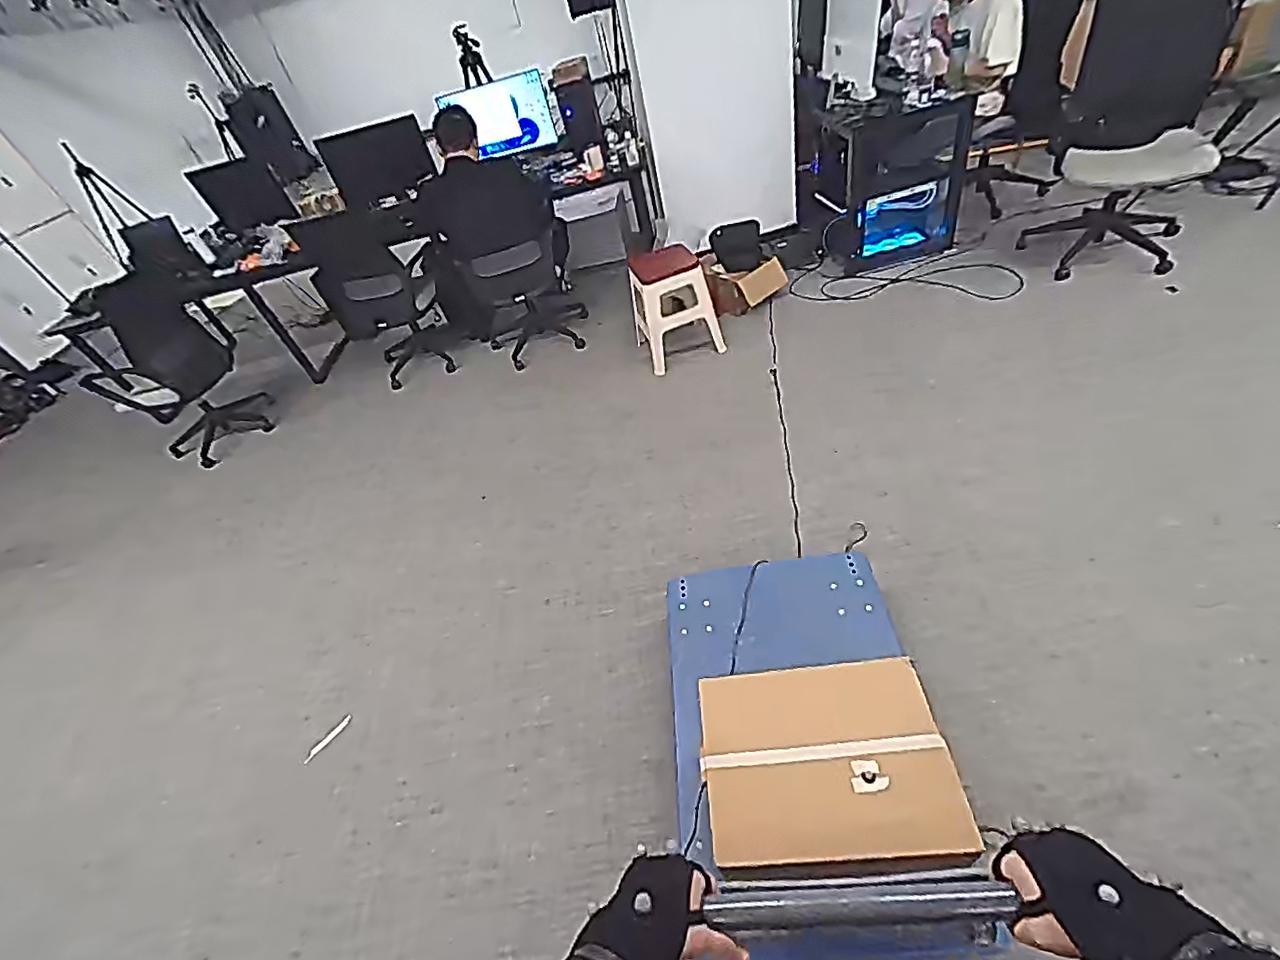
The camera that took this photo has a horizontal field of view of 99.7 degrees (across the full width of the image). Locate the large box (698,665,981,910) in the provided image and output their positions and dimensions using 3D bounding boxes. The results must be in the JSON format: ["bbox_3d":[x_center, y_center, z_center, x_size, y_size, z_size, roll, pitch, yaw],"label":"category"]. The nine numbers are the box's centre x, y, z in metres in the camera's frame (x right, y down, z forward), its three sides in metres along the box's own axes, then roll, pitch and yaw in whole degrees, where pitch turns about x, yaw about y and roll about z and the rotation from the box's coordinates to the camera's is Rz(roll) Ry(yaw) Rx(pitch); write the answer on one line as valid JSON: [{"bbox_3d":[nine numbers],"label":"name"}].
[{"bbox_3d":[0.339,0.589,1.027,0.408,0.320,0.320,-9,44,8],"label":"large box"}]
